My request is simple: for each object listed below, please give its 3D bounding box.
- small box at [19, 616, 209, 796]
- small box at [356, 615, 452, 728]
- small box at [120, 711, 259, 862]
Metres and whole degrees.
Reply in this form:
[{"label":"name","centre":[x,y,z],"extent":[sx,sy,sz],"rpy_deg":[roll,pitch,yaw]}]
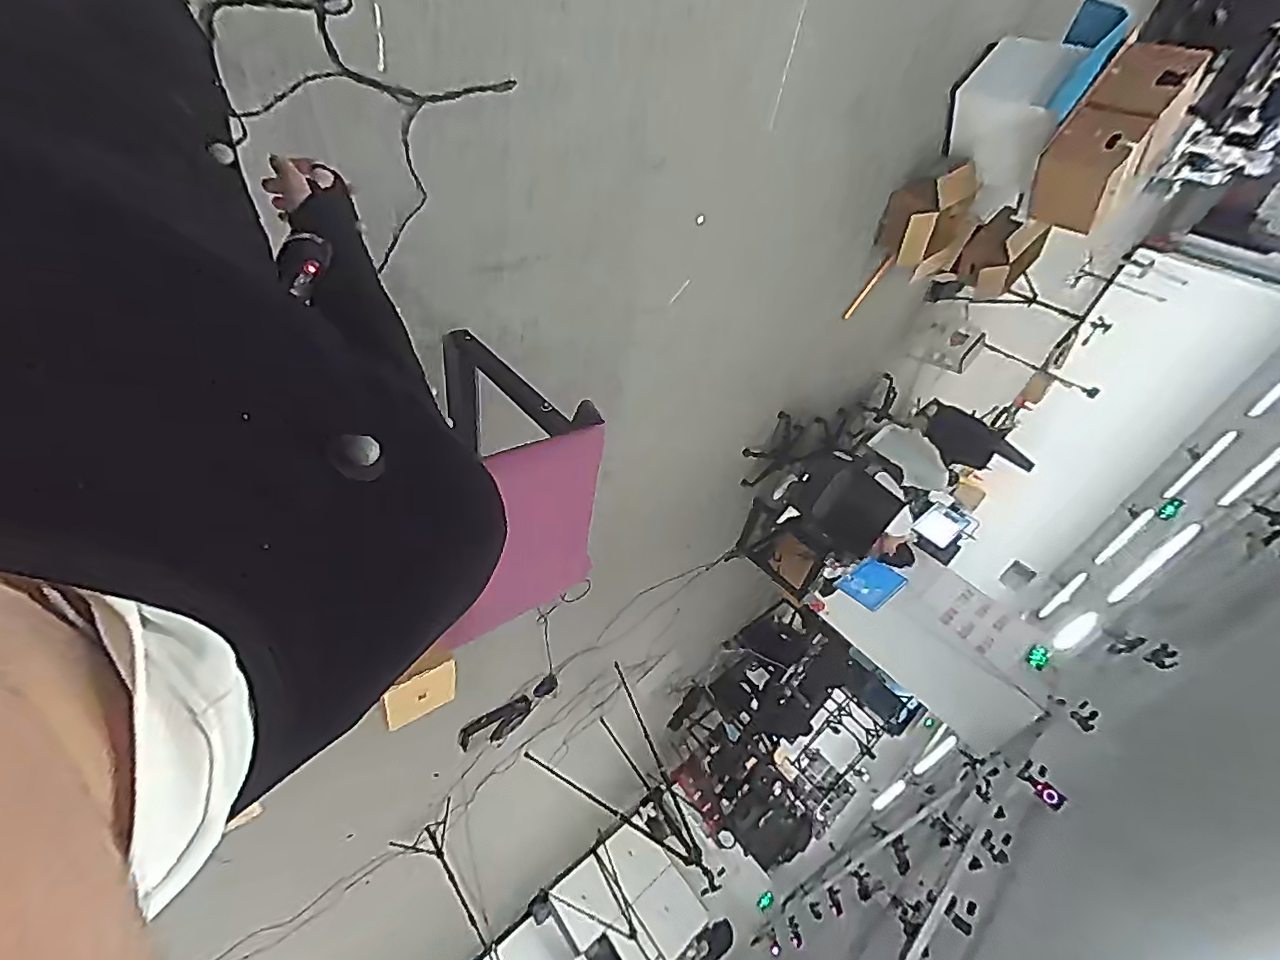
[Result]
[{"label":"small box","centre":[-0.837,0.355,0.869],"extent":[0.168,0.176,0.179],"rpy_deg":[-25,143,-37]},{"label":"small box","centre":[-0.578,0.456,1.323],"extent":[0.168,0.176,0.179],"rpy_deg":[-20,139,-38]},{"label":"small box","centre":[-0.892,0.594,1.070],"extent":[0.168,0.176,0.179],"rpy_deg":[-22,138,-37]}]
